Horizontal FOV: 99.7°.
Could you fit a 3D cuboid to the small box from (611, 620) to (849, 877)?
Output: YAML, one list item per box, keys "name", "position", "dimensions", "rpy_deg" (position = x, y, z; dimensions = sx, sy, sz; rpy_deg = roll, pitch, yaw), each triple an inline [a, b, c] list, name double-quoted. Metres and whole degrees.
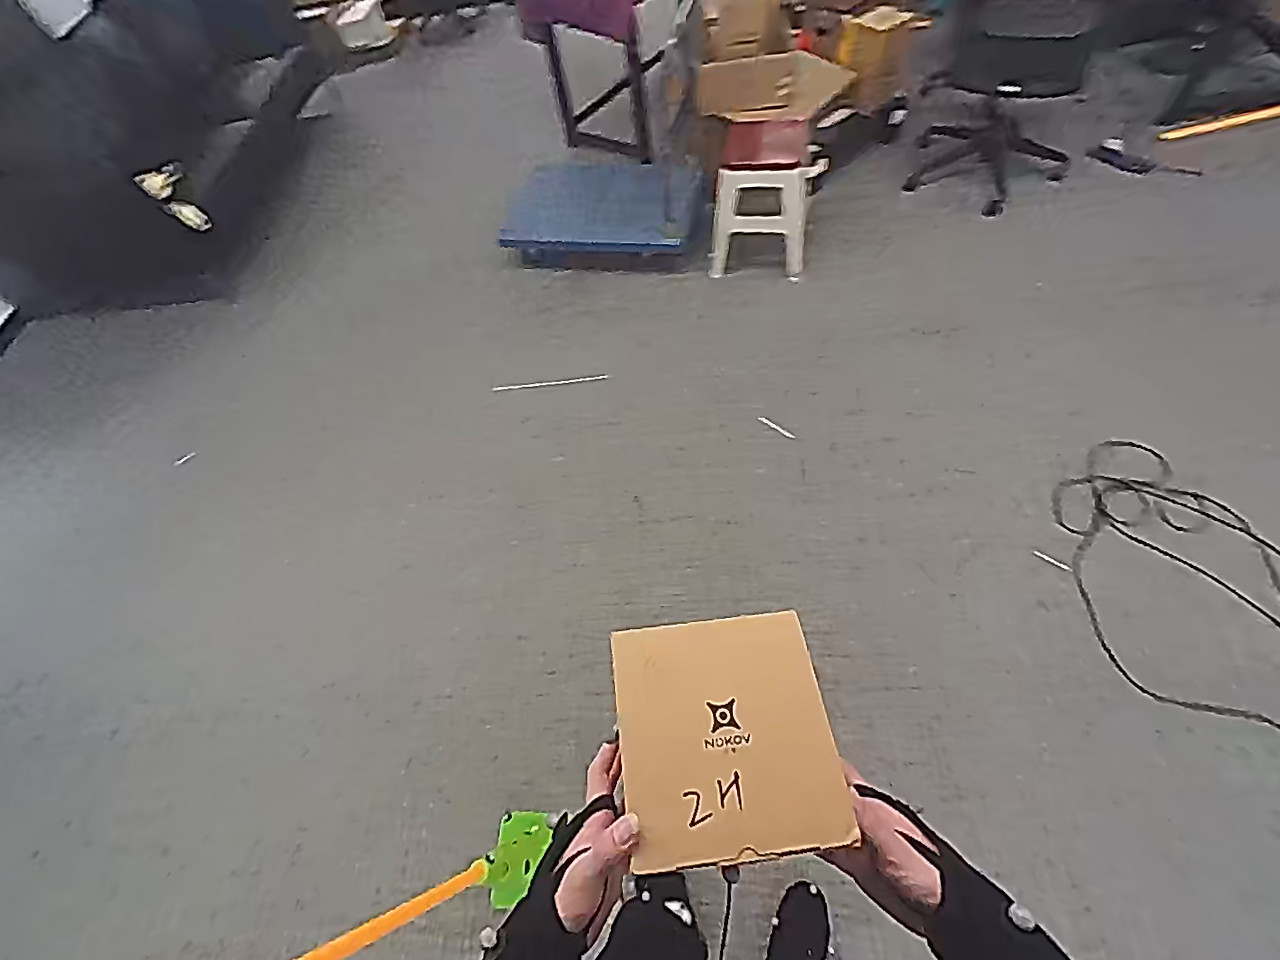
- name: "small box"
  position: [0.063, 0.248, 0.497]
  dimensions: [0.168, 0.176, 0.179]
  rpy_deg: [-6, 56, -2]

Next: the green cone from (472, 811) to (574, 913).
- name: "green cone"
  position: [-0.290, 0.857, 1.197]
  dimensions: [0.202, 0.368, 0.200]
  rpy_deg: [-2, 59, 7]
